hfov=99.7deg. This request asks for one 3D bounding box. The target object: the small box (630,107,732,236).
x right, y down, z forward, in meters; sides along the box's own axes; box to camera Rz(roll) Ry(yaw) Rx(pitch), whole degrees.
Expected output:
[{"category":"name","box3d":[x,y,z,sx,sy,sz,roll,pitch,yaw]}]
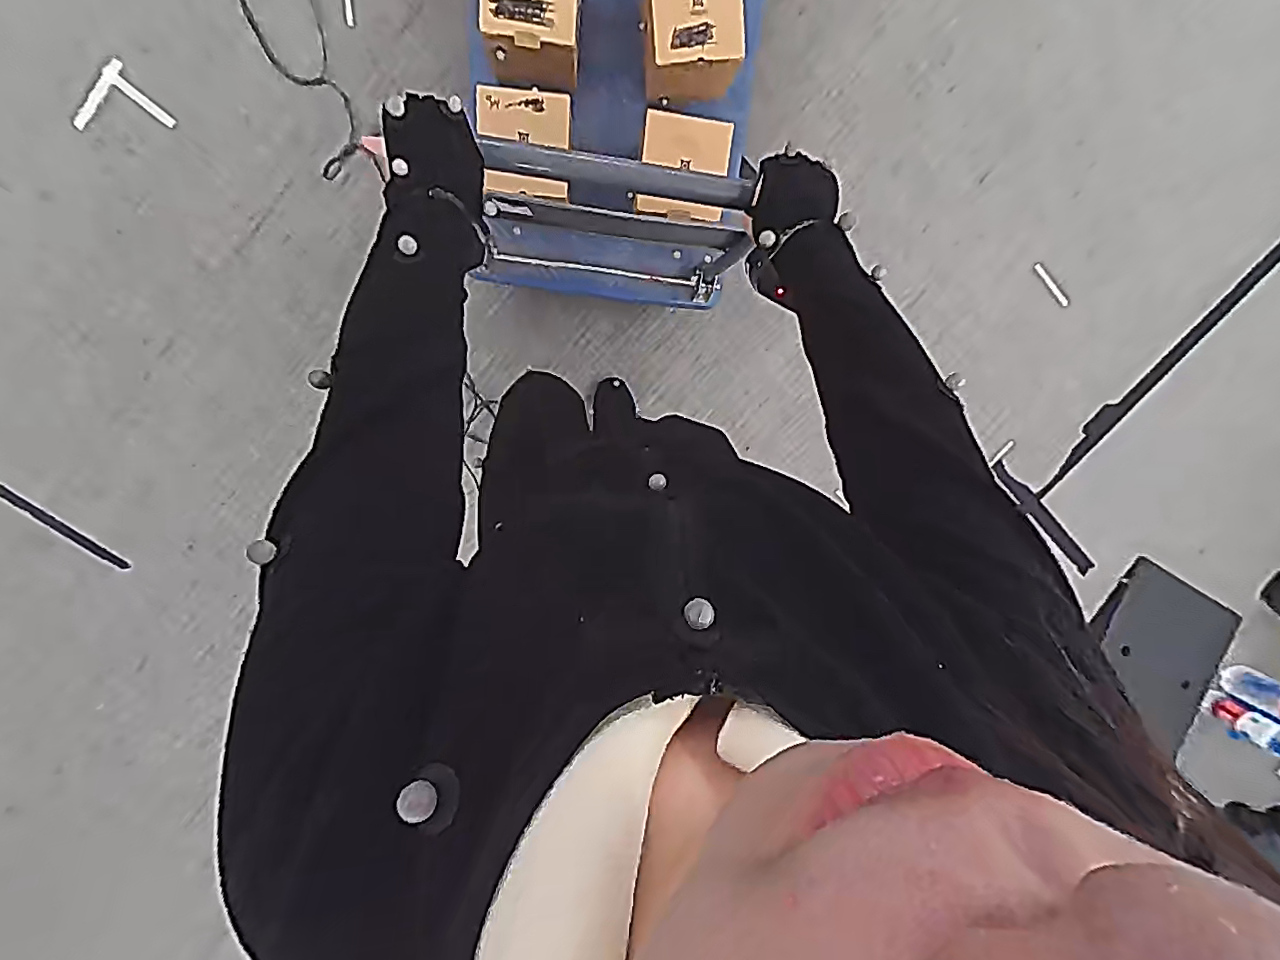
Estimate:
[{"category":"small box","box3d":[0.073,-0.609,1.093,0.168,0.176,0.179,6,102,-8]}]

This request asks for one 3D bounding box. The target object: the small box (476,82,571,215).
[{"category":"small box","box3d":[-0.222,-0.632,1.055,0.168,0.176,0.179,2,104,-7]}]

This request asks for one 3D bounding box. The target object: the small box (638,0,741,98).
[{"category":"small box","box3d":[0.090,-0.860,1.033,0.168,0.176,0.179,-6,103,-4]}]
